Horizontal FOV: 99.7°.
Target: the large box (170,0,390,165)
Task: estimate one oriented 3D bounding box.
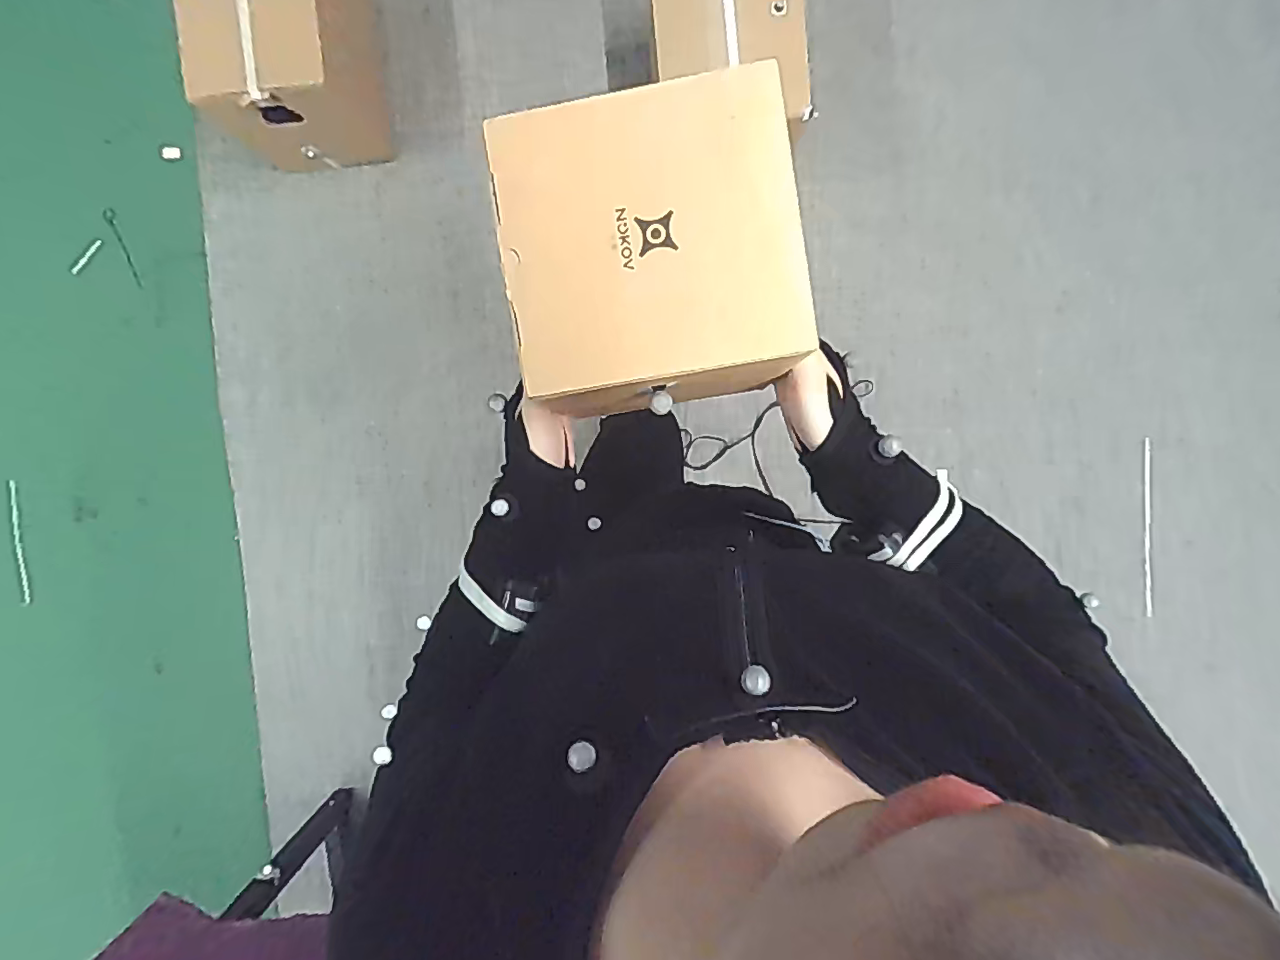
[{"bbox_3d":[-0.837,-1.044,1.283,0.320,0.320,0.408,-5,93,2],"label":"large box"}]

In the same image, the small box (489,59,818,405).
[{"bbox_3d":[0.012,-0.151,0.395,0.179,0.176,0.168,-9,93,5],"label":"small box"}]
